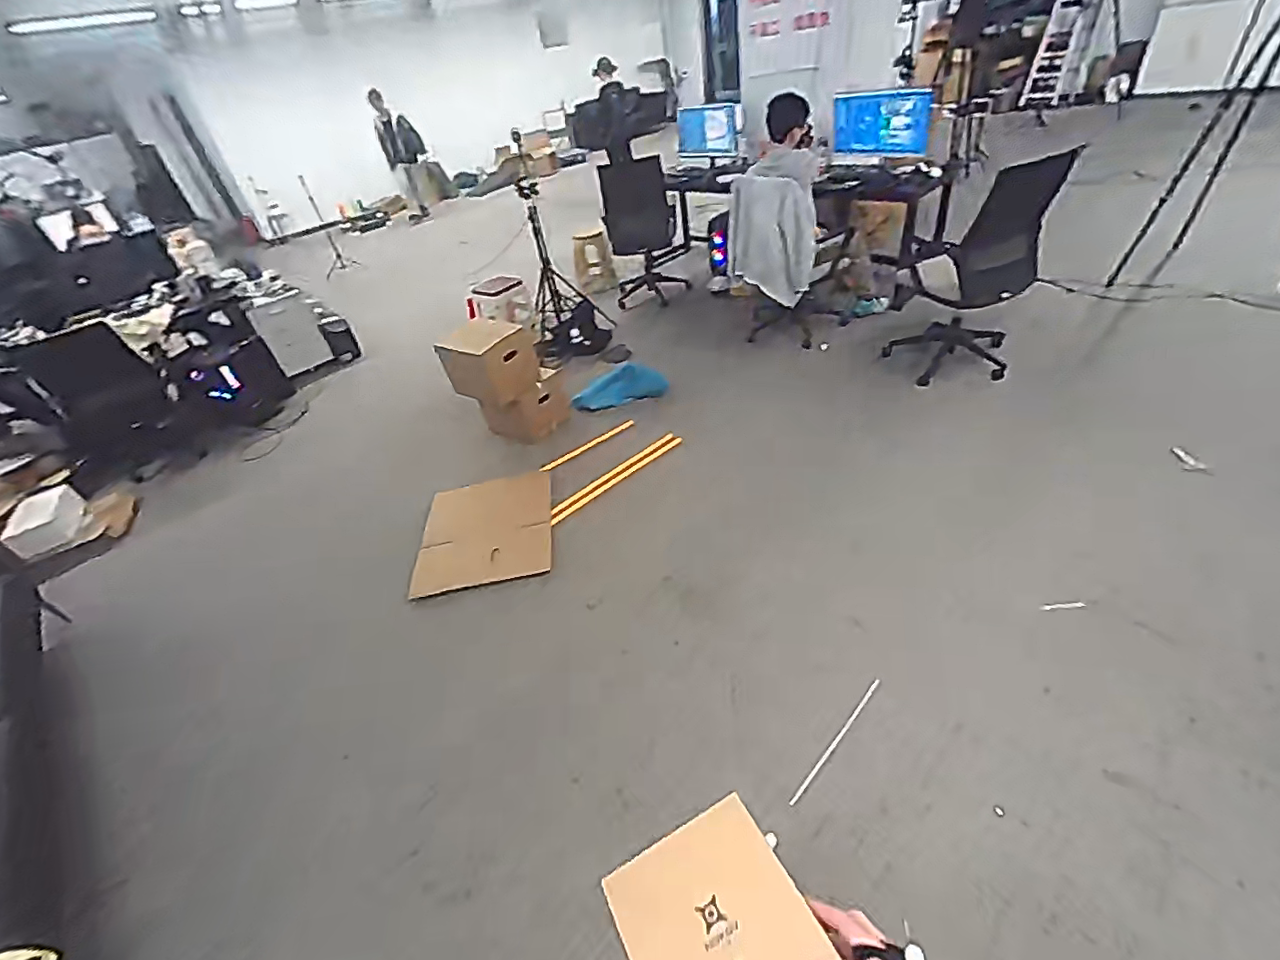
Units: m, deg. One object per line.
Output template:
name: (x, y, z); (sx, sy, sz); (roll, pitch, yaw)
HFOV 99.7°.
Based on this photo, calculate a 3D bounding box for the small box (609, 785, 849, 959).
small box: (0.088, 0.465, 0.550); (0.168, 0.176, 0.179); (-24, 38, -14)
